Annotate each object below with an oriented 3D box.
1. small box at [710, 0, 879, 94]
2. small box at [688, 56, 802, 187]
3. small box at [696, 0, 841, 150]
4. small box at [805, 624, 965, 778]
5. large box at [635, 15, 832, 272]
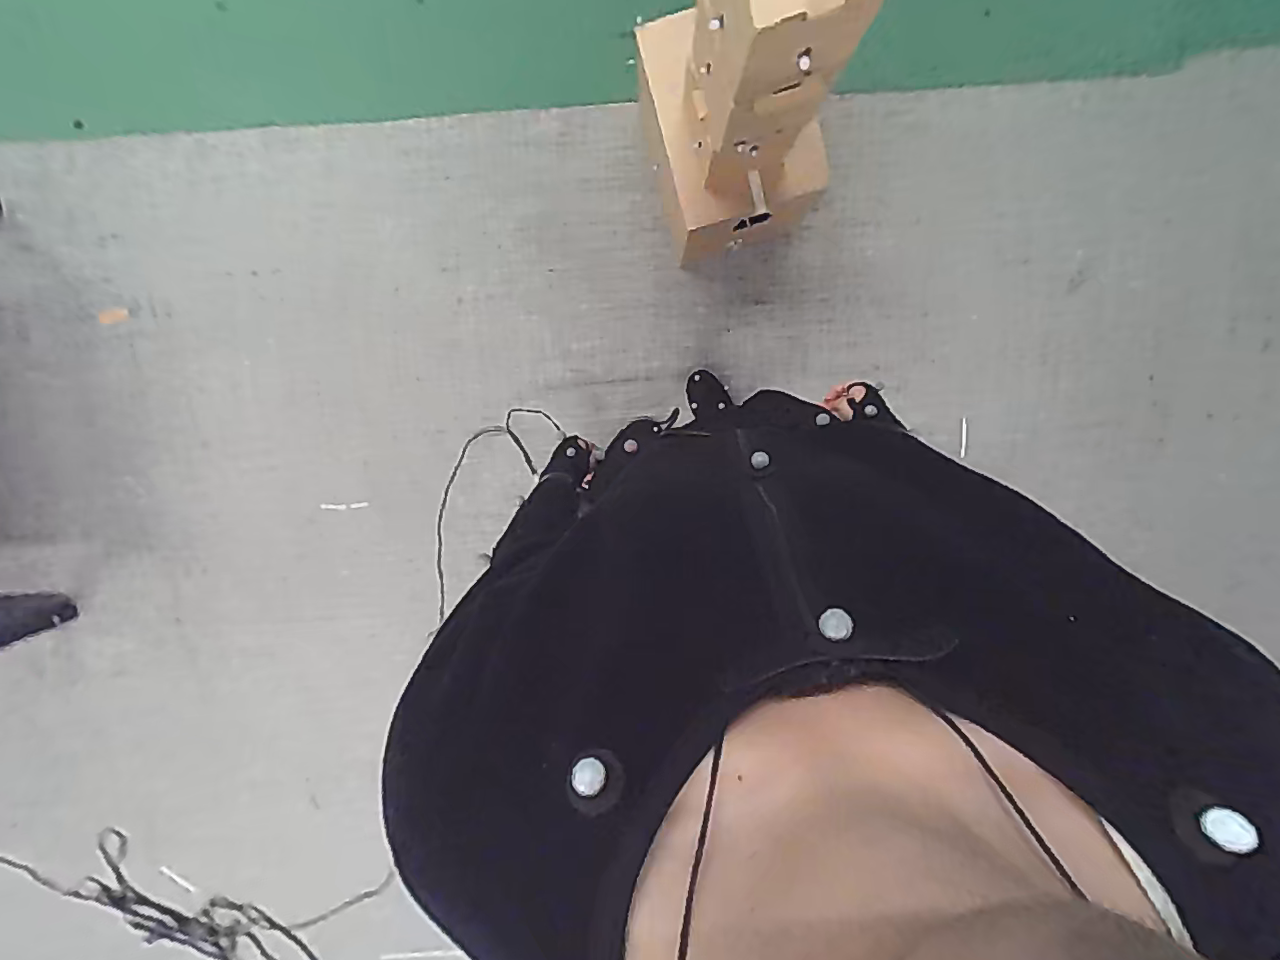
[{"bbox_3d":[0.188,-0.628,0.680,0.168,0.176,0.179,-16,99,4],"label":"small box"},{"bbox_3d":[0.190,-0.676,1.004,0.179,0.176,0.168,-15,98,4],"label":"small box"},{"bbox_3d":[0.190,-0.649,0.843,0.168,0.176,0.179,-17,97,4],"label":"small box"},{"bbox_3d":[0.432,0.388,0.989,0.179,0.176,0.168,32,98,-5],"label":"small box"},{"bbox_3d":[0.197,-0.755,1.239,0.320,0.320,0.408,-16,96,3],"label":"large box"}]
